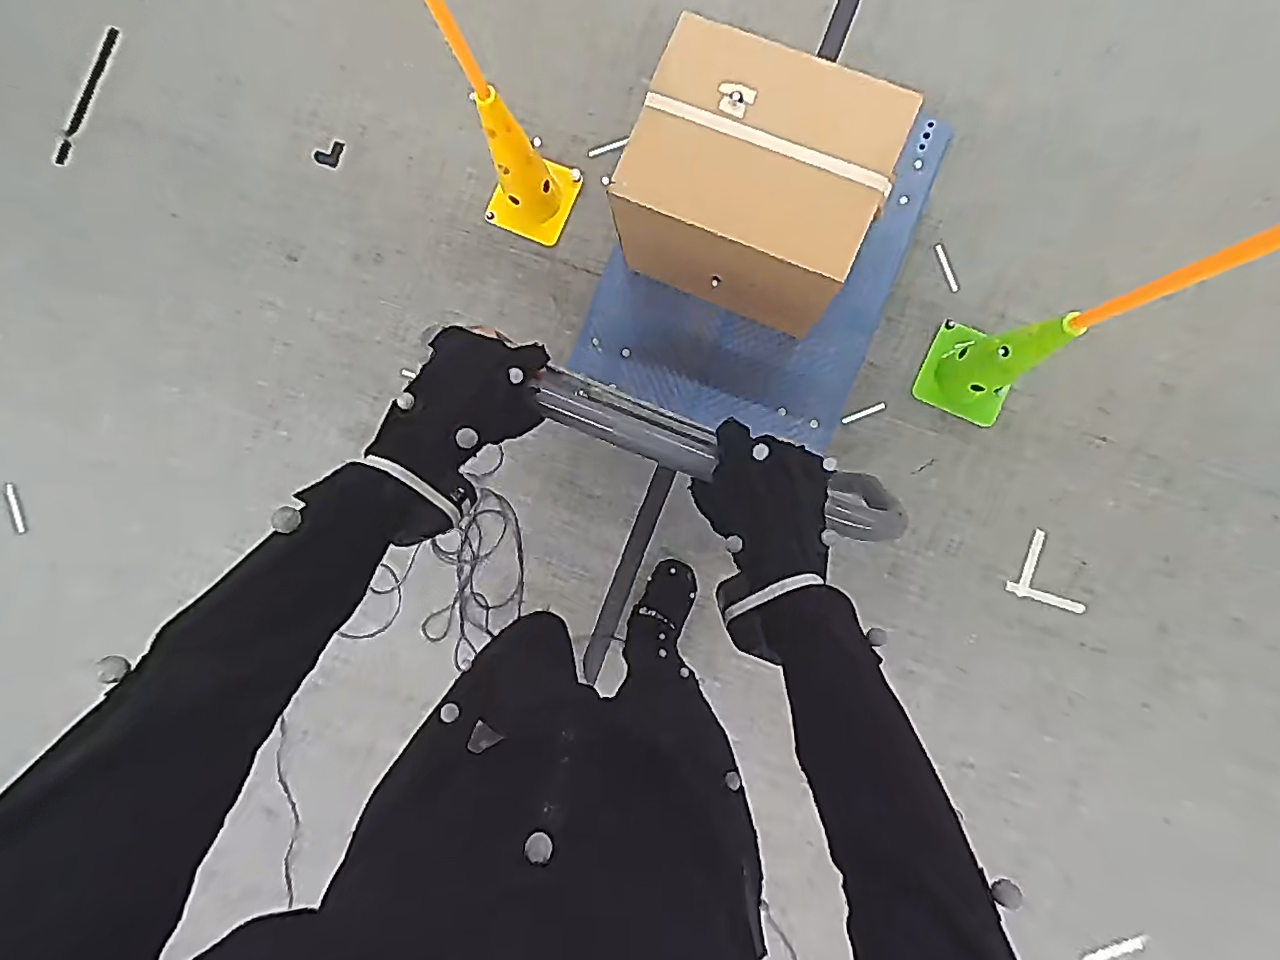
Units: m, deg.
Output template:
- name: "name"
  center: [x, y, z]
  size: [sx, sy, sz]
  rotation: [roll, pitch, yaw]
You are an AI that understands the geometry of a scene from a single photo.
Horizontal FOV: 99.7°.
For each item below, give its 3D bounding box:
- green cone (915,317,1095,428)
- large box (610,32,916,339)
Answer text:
- name: "green cone"
  center: [0.756, -0.249, 1.091]
  size: [0.202, 0.368, 0.200]
  rotation: [25, 90, 4]
- name: "large box"
  center: [0.207, -0.508, 1.004]
  size: [0.408, 0.320, 0.320]
  rotation: [24, 91, 6]
